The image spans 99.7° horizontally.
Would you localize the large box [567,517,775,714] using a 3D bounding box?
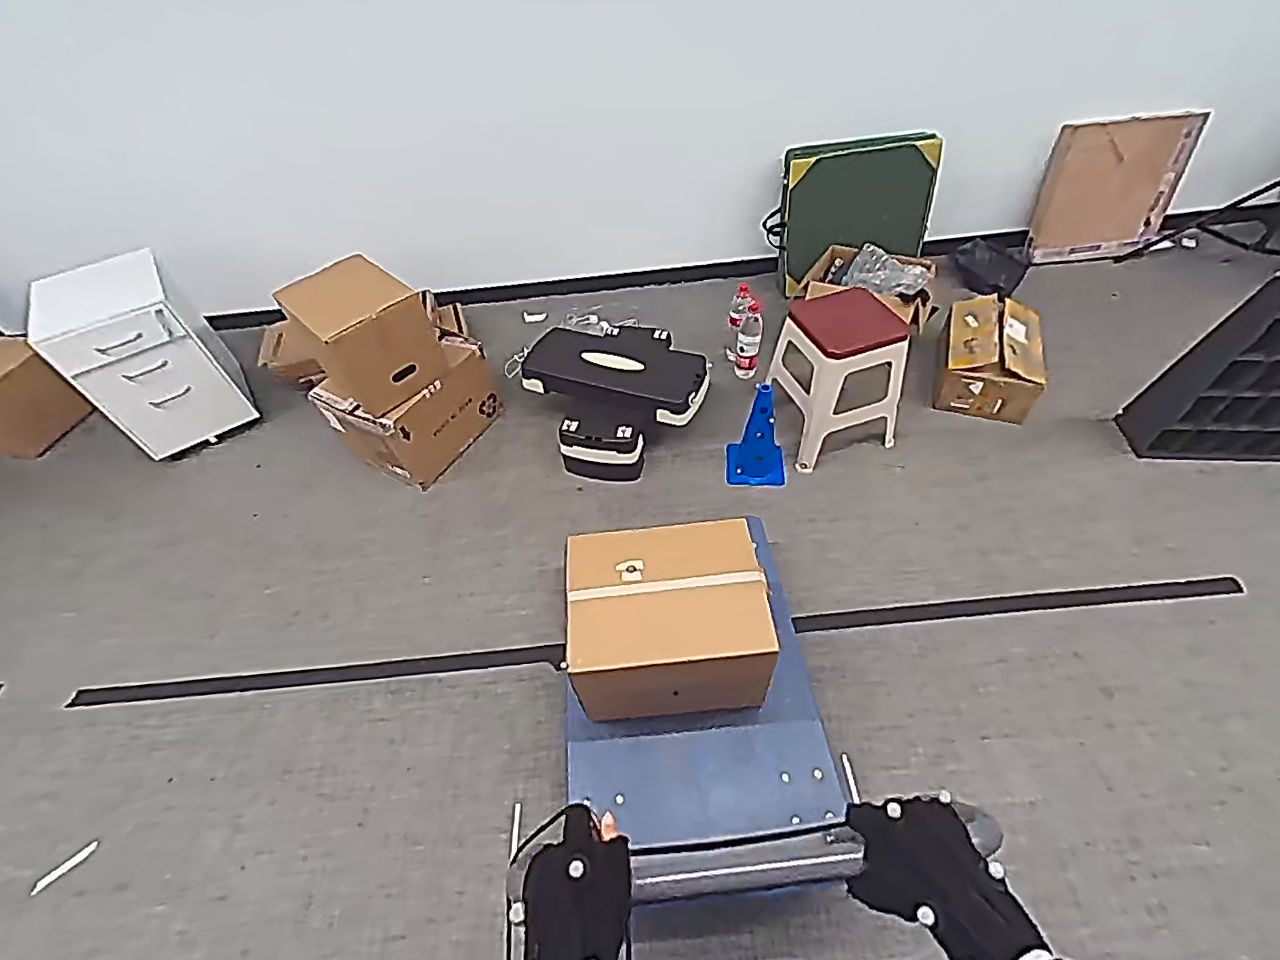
[{"bbox_3d":[0.060,0.315,1.232,0.408,0.320,0.320,-7,50,1],"label":"large box"}]
